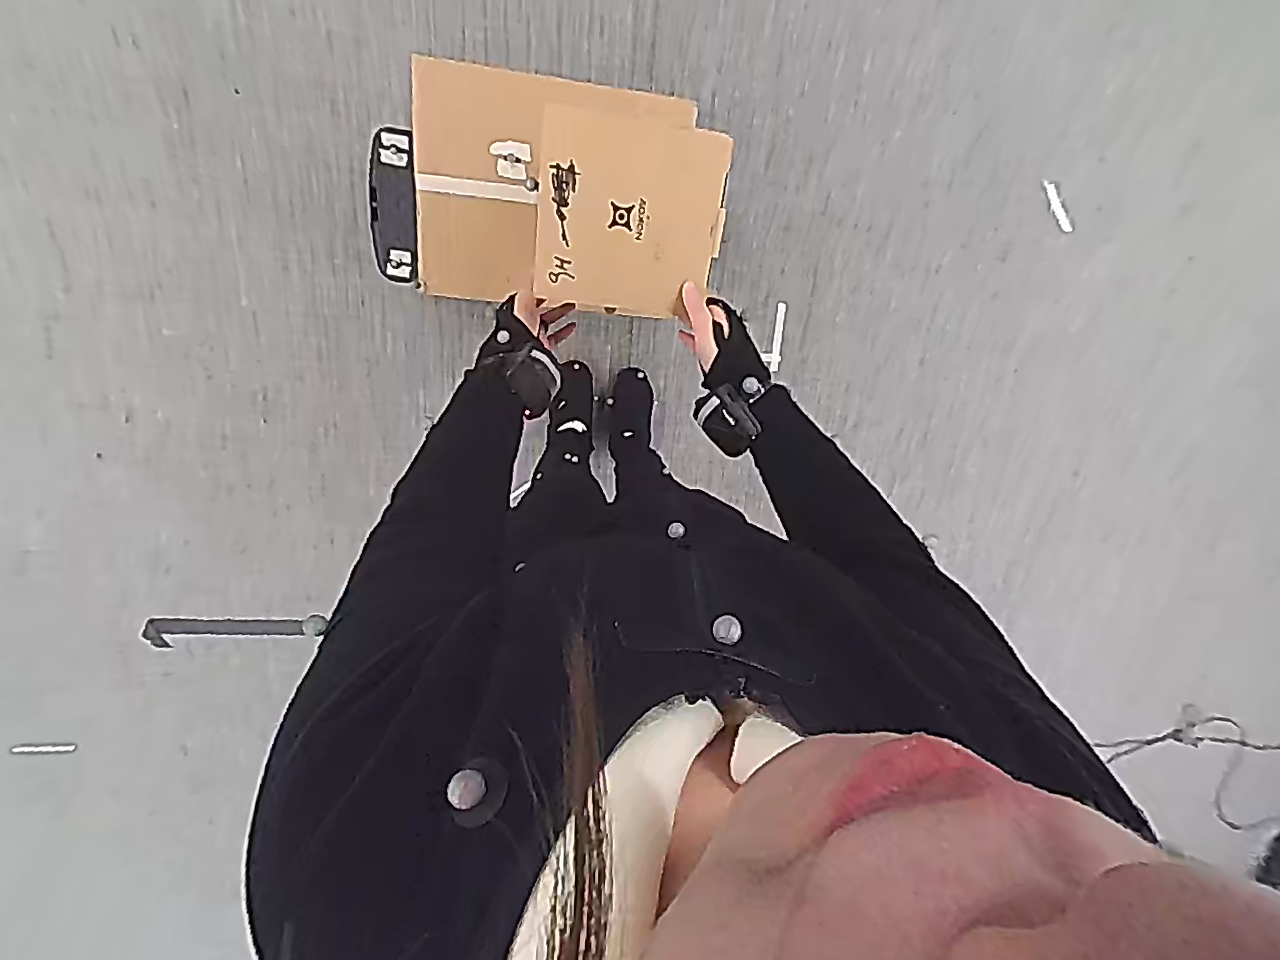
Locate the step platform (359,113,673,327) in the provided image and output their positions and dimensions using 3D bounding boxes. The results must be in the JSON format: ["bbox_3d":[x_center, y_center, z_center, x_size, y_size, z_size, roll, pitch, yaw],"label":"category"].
[{"bbox_3d":[-0.224,-0.535,1.166,0.684,0.204,0.286,9,108,-10],"label":"step platform"}]

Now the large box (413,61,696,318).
[{"bbox_3d":[-0.140,-0.469,0.947,0.408,0.320,0.320,3,109,-8],"label":"large box"}]

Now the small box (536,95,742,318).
[{"bbox_3d":[-0.014,-0.276,0.573,0.179,0.176,0.168,4,112,-10],"label":"small box"}]
